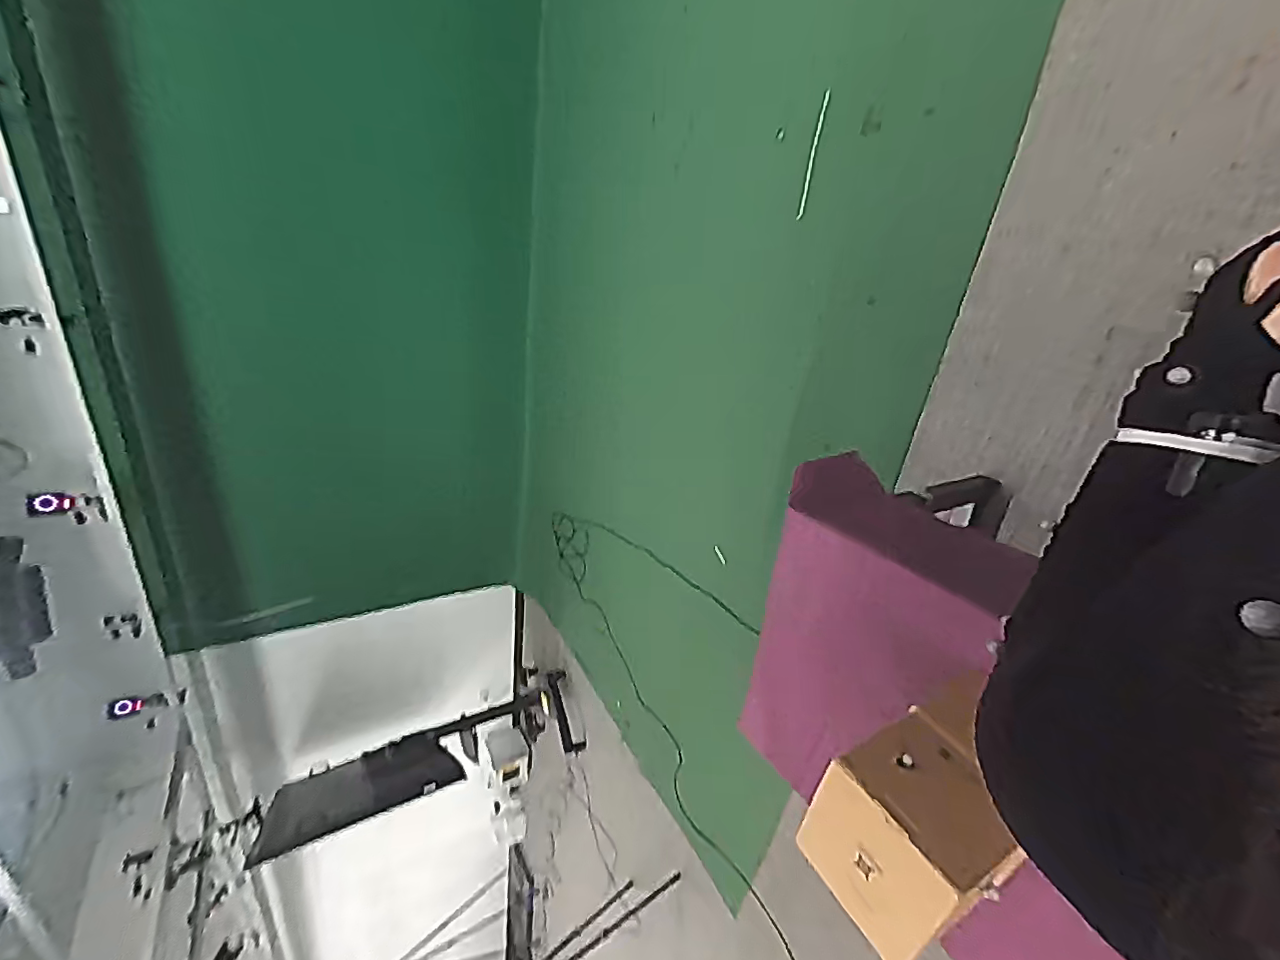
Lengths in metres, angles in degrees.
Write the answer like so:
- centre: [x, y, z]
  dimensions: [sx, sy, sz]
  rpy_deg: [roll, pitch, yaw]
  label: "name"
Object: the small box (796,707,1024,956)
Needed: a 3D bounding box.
- centre: [0.332, 0.420, 0.674]
  dimensions: [0.168, 0.176, 0.179]
  rpy_deg: [44, 134, 48]
  label: "small box"
